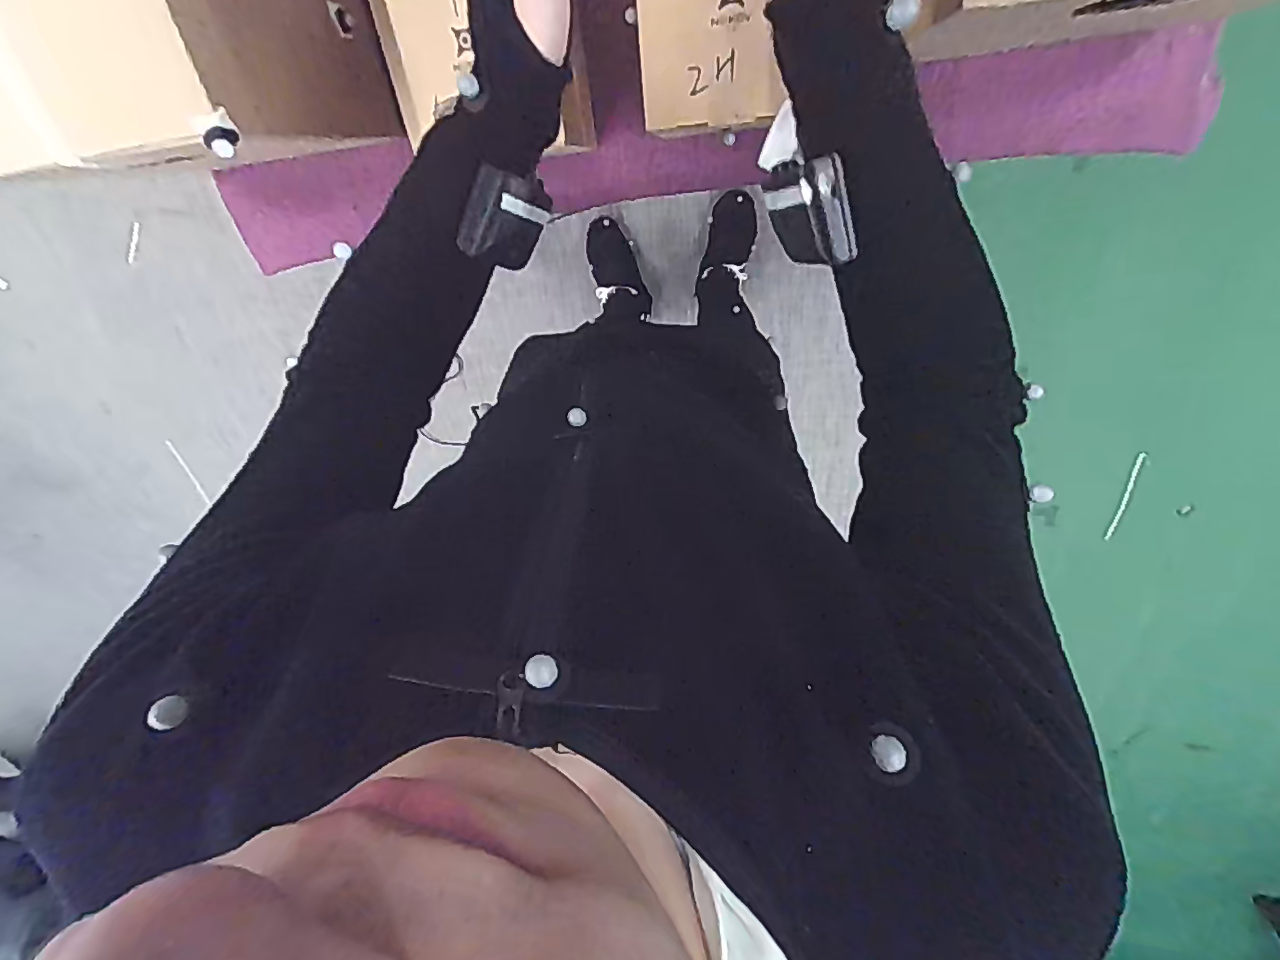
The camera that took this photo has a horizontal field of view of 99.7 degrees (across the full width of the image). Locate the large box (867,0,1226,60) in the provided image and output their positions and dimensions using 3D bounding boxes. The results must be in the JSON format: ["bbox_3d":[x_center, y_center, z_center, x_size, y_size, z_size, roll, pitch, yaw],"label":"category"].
[{"bbox_3d":[0.359,-0.563,0.355,0.320,0.320,0.408,-2,122,10],"label":"large box"}]
